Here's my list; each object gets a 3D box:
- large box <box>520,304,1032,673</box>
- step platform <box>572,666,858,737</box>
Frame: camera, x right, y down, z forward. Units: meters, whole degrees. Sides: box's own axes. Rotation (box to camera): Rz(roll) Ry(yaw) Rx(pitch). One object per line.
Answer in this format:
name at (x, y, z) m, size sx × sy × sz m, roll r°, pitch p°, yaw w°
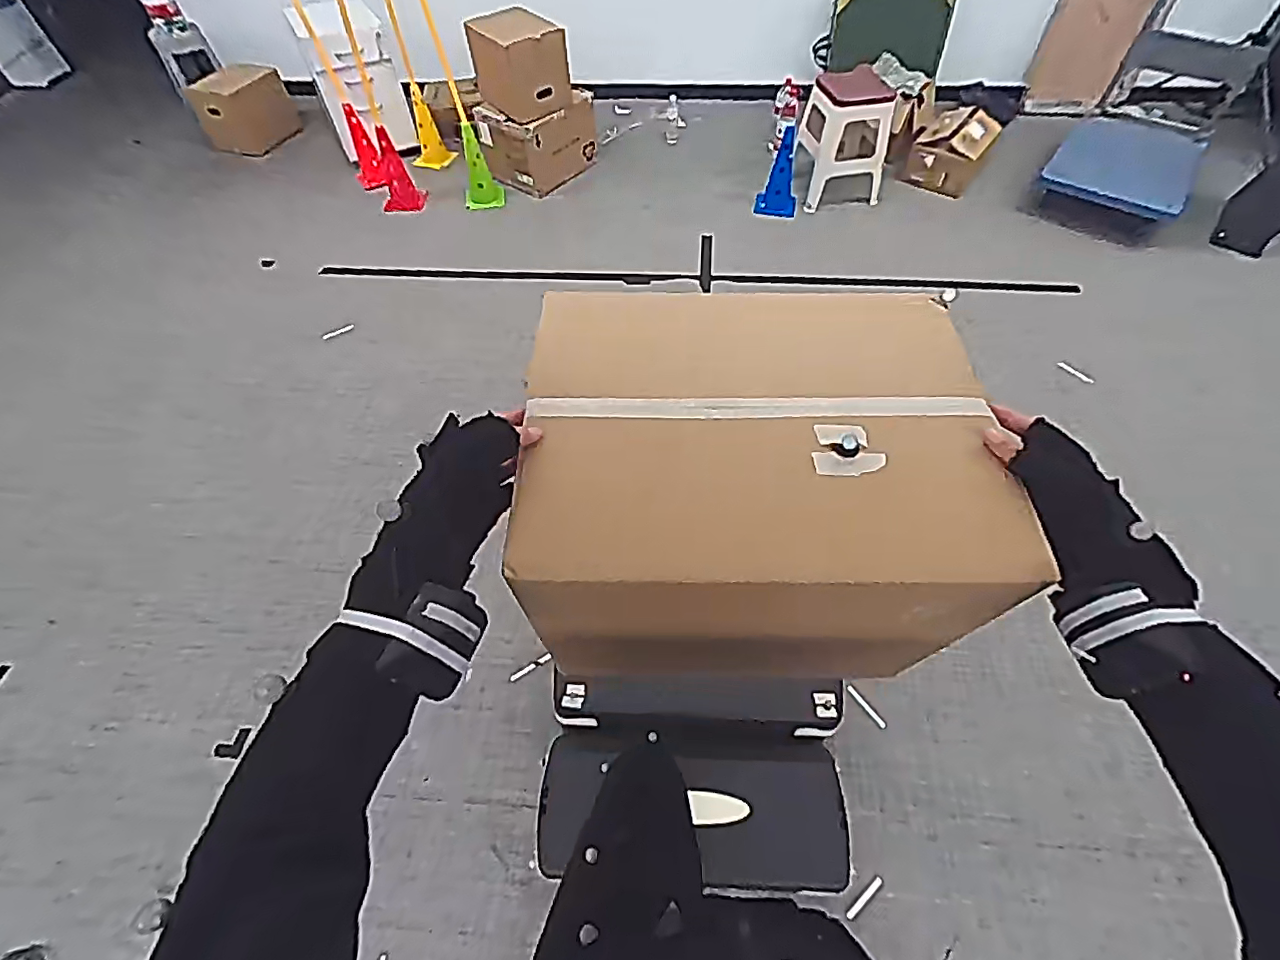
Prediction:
large box at (0.101, 0.024, 0.616) m, size 0.408 × 0.320 × 0.320 m, roll 0°, pitch 58°, yaw 0°
step platform at (0.174, 0.462, 1.347) m, size 0.684 × 0.204 × 0.286 m, roll 1°, pitch 55°, yaw 1°
